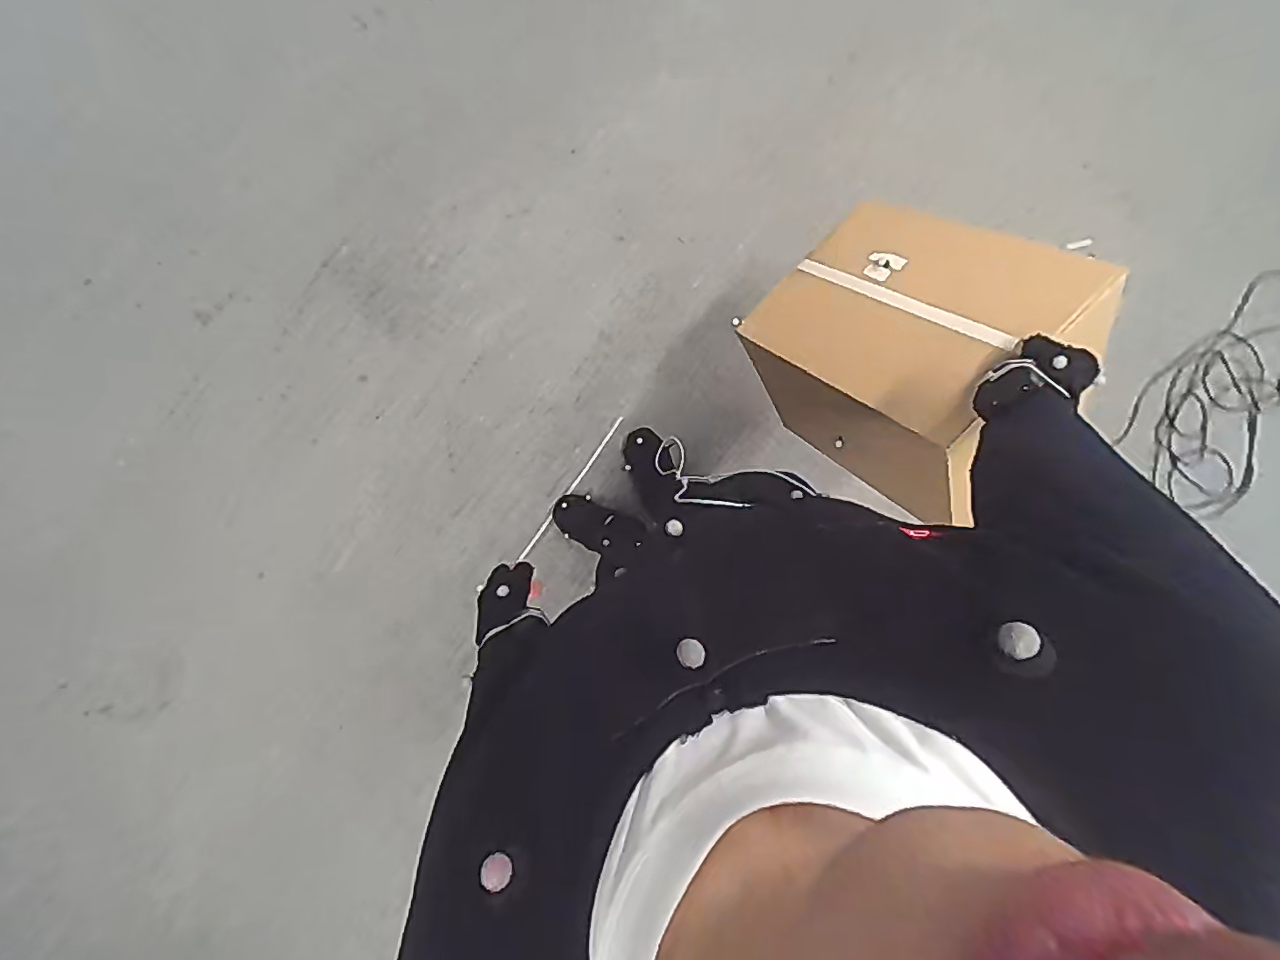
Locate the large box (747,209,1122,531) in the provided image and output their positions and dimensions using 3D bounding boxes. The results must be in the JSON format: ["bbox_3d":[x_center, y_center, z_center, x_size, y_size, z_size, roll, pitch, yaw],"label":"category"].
[{"bbox_3d":[0.465,-0.187,0.911,0.320,0.408,0.320,-44,138,1],"label":"large box"}]
